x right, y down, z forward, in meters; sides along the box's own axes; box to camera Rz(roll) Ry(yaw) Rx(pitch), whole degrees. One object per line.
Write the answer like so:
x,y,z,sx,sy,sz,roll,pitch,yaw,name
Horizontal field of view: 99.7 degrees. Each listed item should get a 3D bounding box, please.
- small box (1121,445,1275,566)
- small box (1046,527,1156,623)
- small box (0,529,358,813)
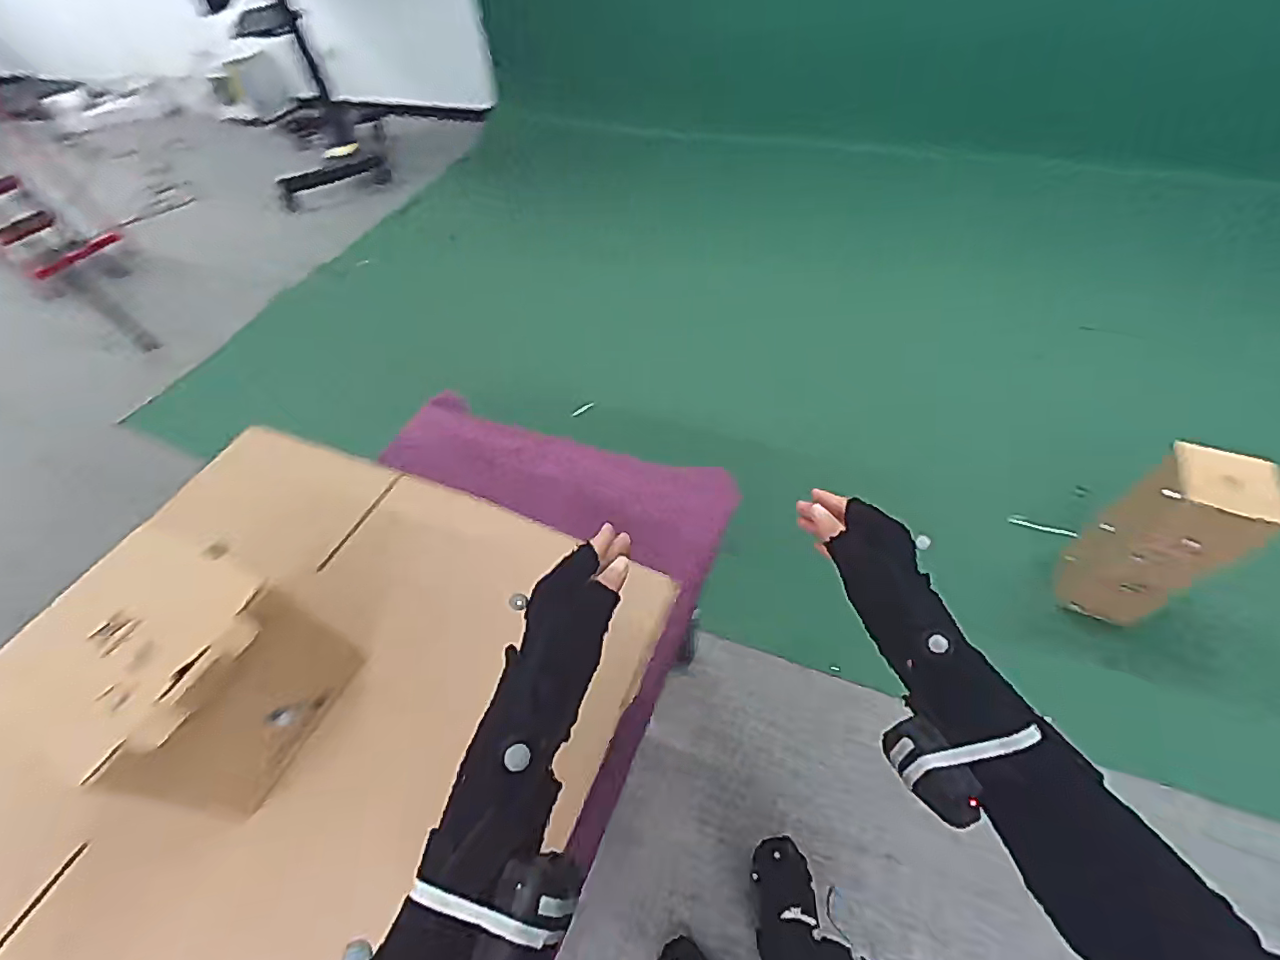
1.207,0.057,1.189,0.168,0.176,0.179,17,56,16,small box
1.222,0.258,1.448,0.168,0.176,0.179,16,57,16,small box
-0.408,0.175,0.490,0.179,0.176,0.168,16,56,18,small box
